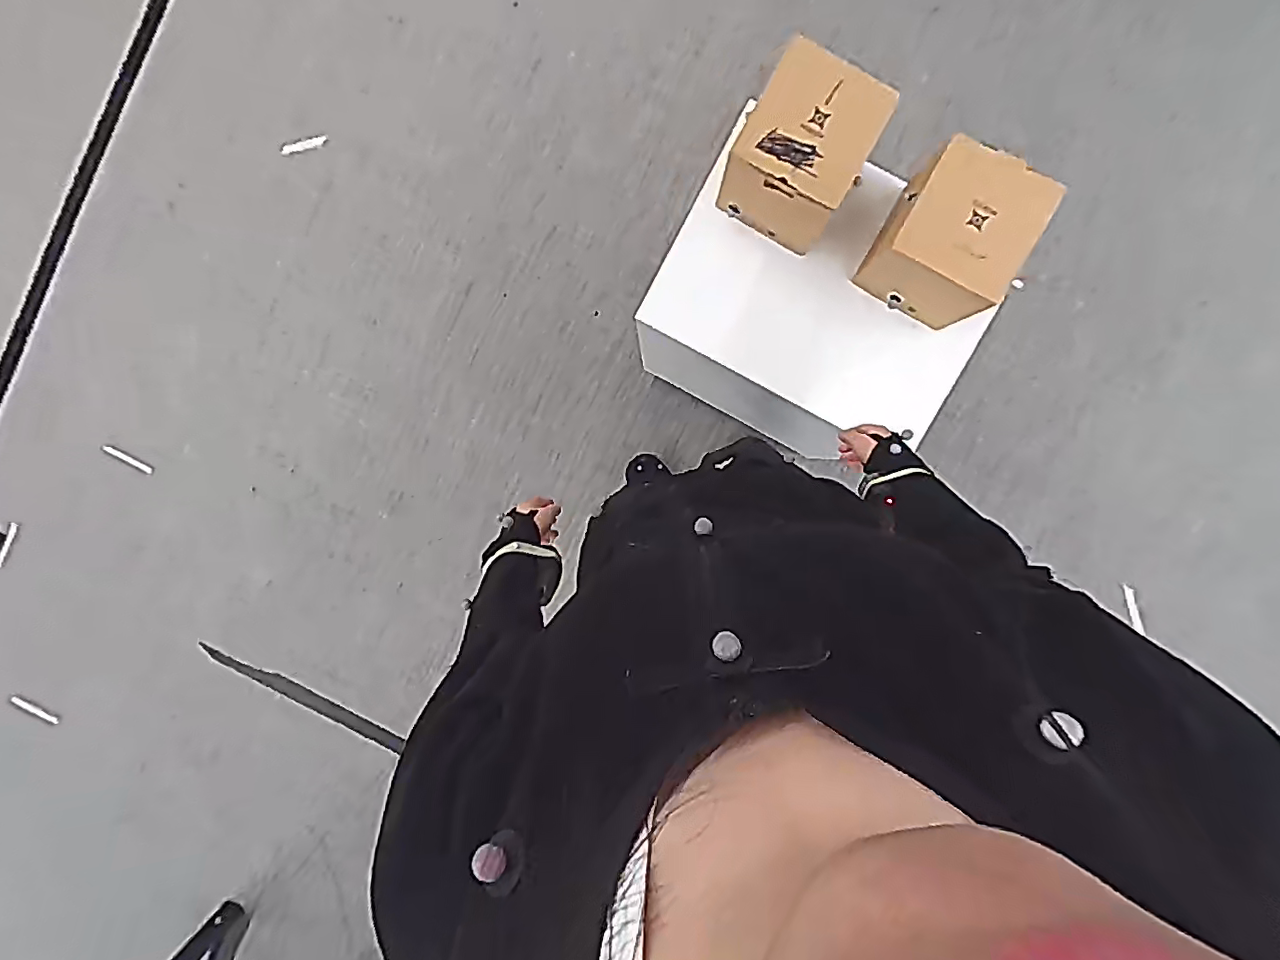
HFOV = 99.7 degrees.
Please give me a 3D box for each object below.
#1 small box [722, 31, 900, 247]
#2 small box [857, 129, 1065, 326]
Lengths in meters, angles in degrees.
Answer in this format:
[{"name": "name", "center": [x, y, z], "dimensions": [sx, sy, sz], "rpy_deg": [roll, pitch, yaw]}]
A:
[{"name": "small box", "center": [0.232, -0.477, 0.790], "dimensions": [0.168, 0.176, 0.179], "rpy_deg": [30, 93, -1]}, {"name": "small box", "center": [0.450, -0.354, 0.794], "dimensions": [0.168, 0.176, 0.179], "rpy_deg": [28, 95, 1]}]
